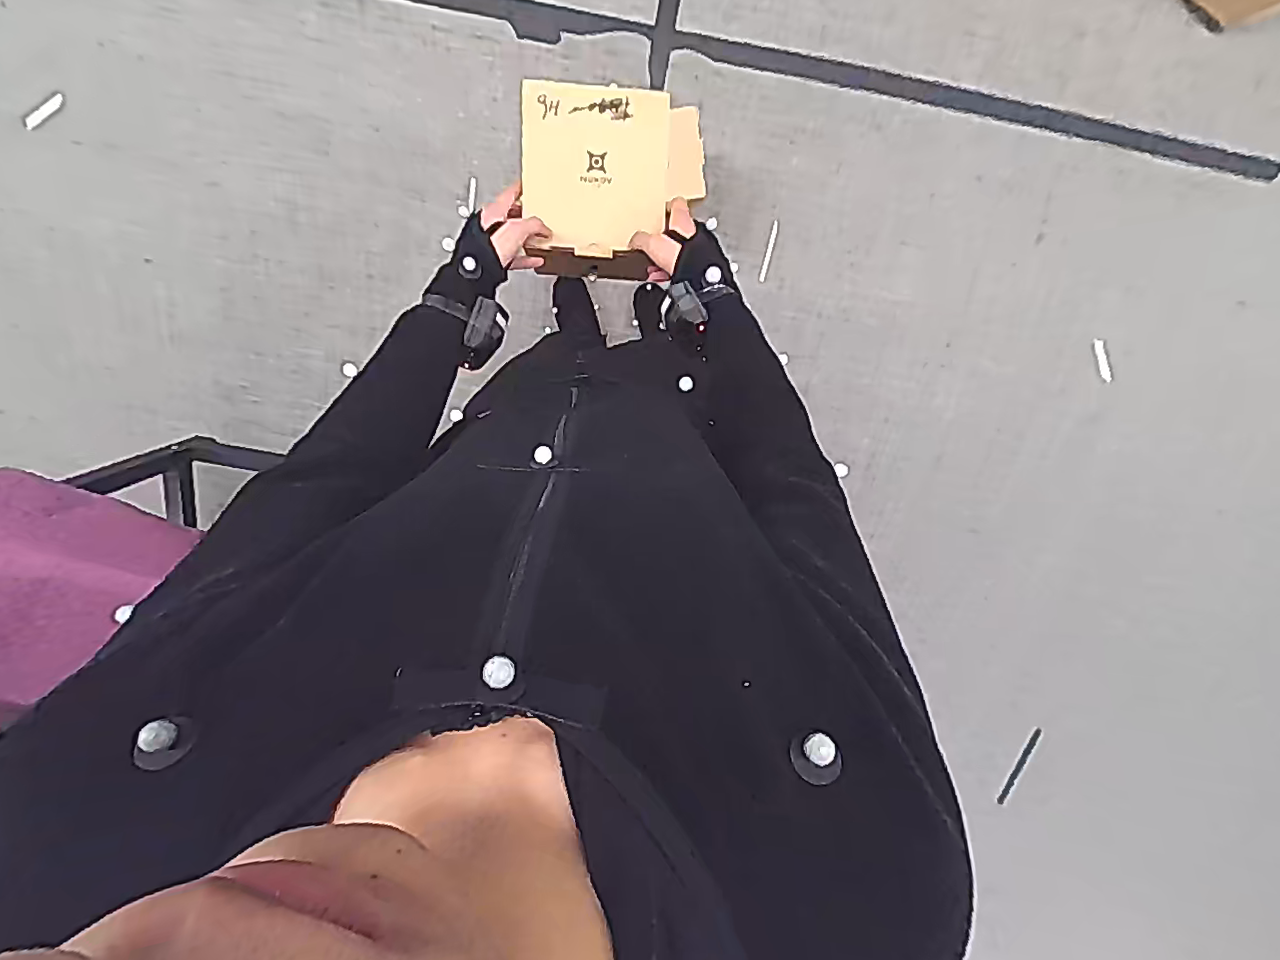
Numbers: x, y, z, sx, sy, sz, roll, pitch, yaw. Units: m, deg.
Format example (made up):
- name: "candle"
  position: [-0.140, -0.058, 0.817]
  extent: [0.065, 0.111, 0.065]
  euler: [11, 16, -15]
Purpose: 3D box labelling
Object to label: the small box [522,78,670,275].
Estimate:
- name: "small box"
  position: [-0.058, -0.368, 0.693]
  extent: [0.168, 0.176, 0.179]
  euler: [1, 101, -6]
